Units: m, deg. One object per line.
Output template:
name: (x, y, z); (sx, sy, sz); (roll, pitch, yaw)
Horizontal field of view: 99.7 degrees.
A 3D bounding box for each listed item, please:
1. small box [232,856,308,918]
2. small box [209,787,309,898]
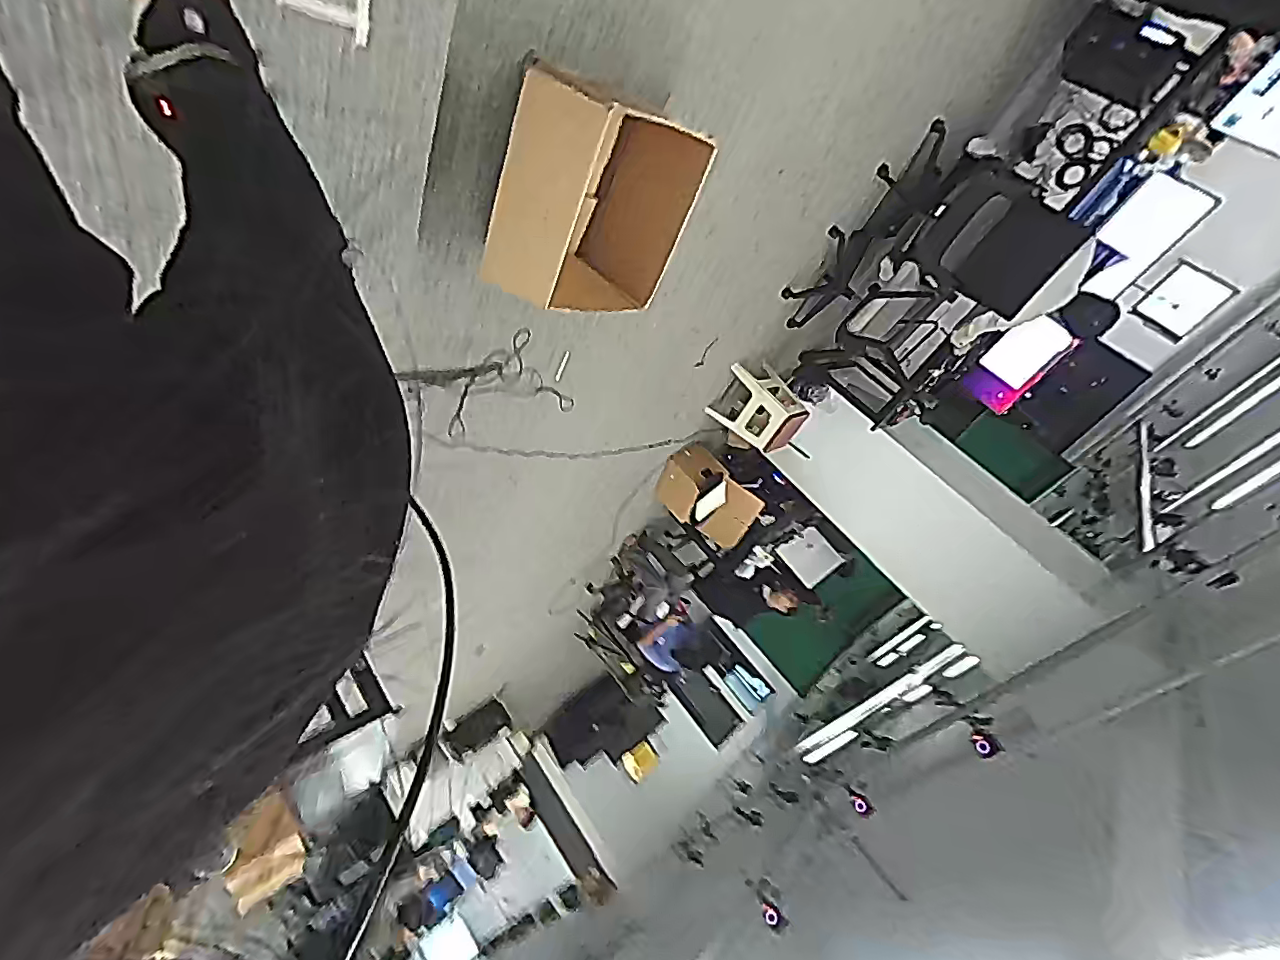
small box: (-1.110, 1.138, 1.603); (0.168, 0.176, 0.179); (-18, 147, -46)
small box: (-1.007, 0.954, 1.434); (0.168, 0.176, 0.179); (-23, 151, -40)
